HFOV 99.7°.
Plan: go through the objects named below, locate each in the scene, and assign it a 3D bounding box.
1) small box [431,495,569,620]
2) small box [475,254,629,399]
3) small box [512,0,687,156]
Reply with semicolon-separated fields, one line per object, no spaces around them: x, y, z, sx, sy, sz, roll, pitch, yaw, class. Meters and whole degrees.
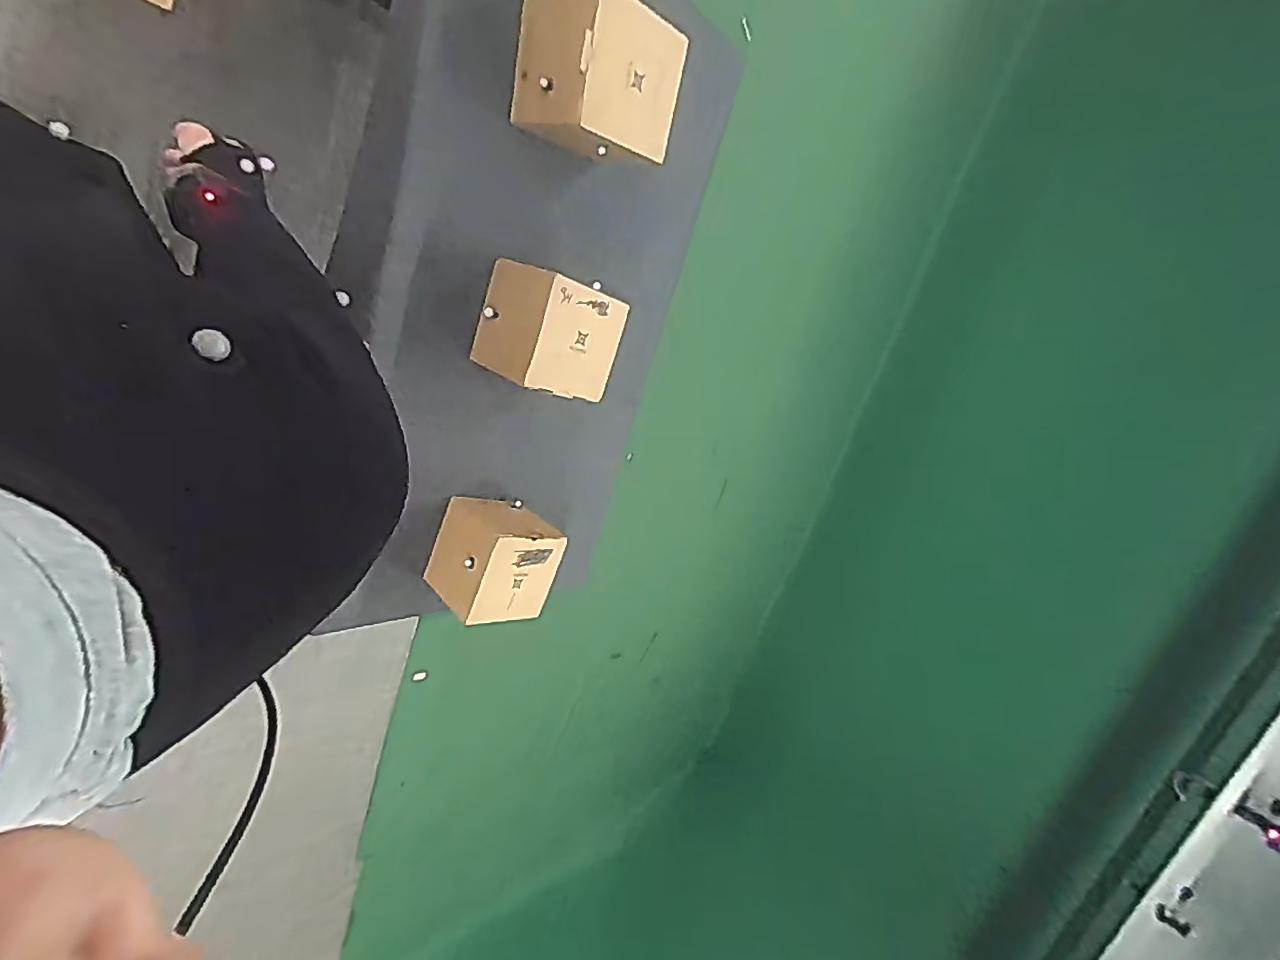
-0.272;0.141;1.032;0.168;0.176;0.179;10;106;-51;small box
-0.153;-0.256;0.911;0.168;0.176;0.179;4;111;-50;small box
-0.065;-0.595;0.791;0.179;0.176;0.168;-12;124;-47;small box
